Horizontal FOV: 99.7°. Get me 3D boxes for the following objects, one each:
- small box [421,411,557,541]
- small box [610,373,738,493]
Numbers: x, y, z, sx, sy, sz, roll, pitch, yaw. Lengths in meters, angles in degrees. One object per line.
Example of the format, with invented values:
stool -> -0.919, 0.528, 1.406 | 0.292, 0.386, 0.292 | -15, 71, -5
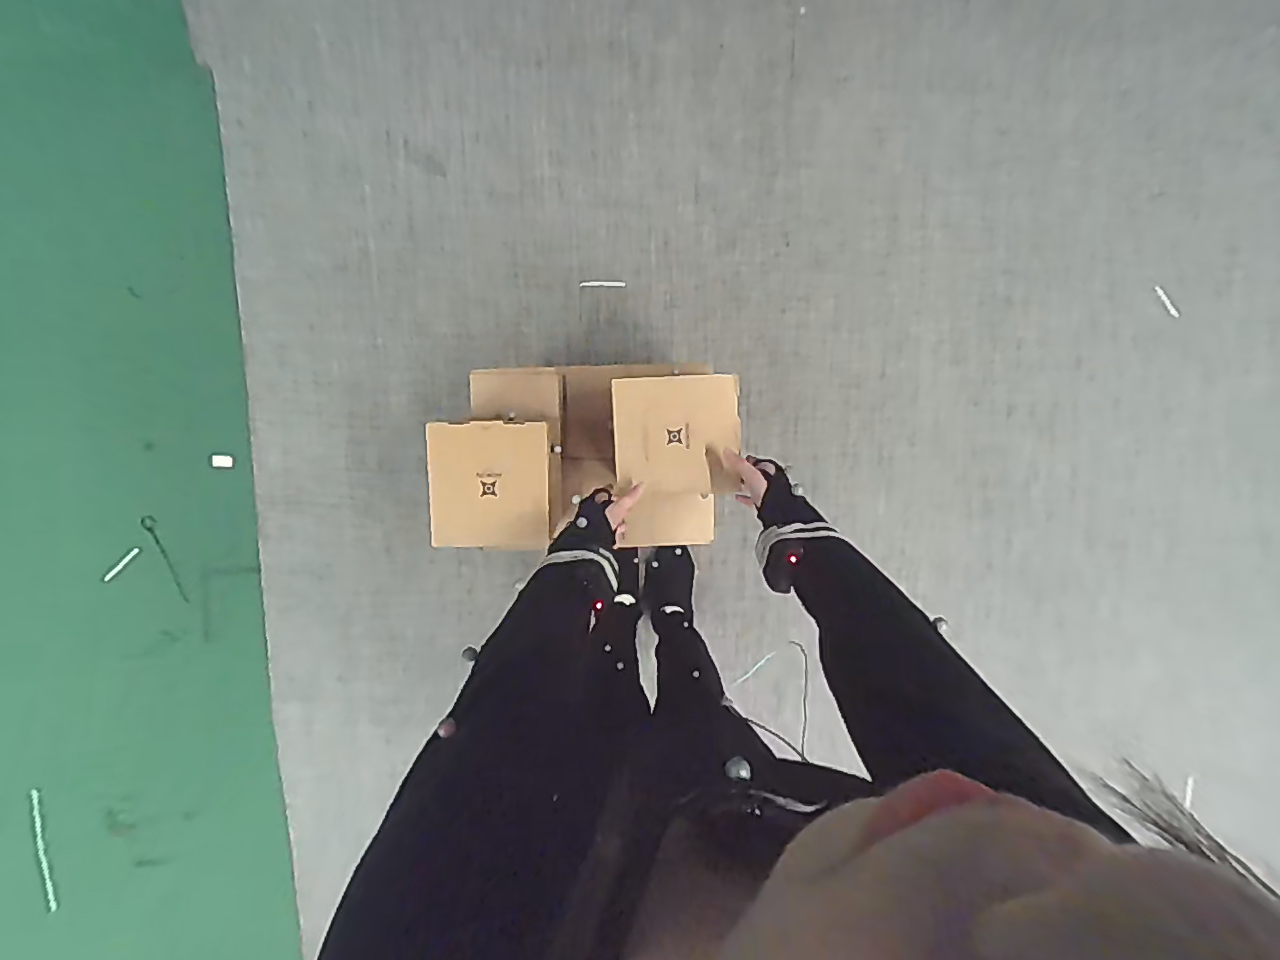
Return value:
small box -> -0.217, -0.013, 0.820 | 0.168, 0.176, 0.179 | 0, 98, -3
small box -> 0.046, -0.074, 0.821 | 0.179, 0.176, 0.168 | -1, 96, 0
